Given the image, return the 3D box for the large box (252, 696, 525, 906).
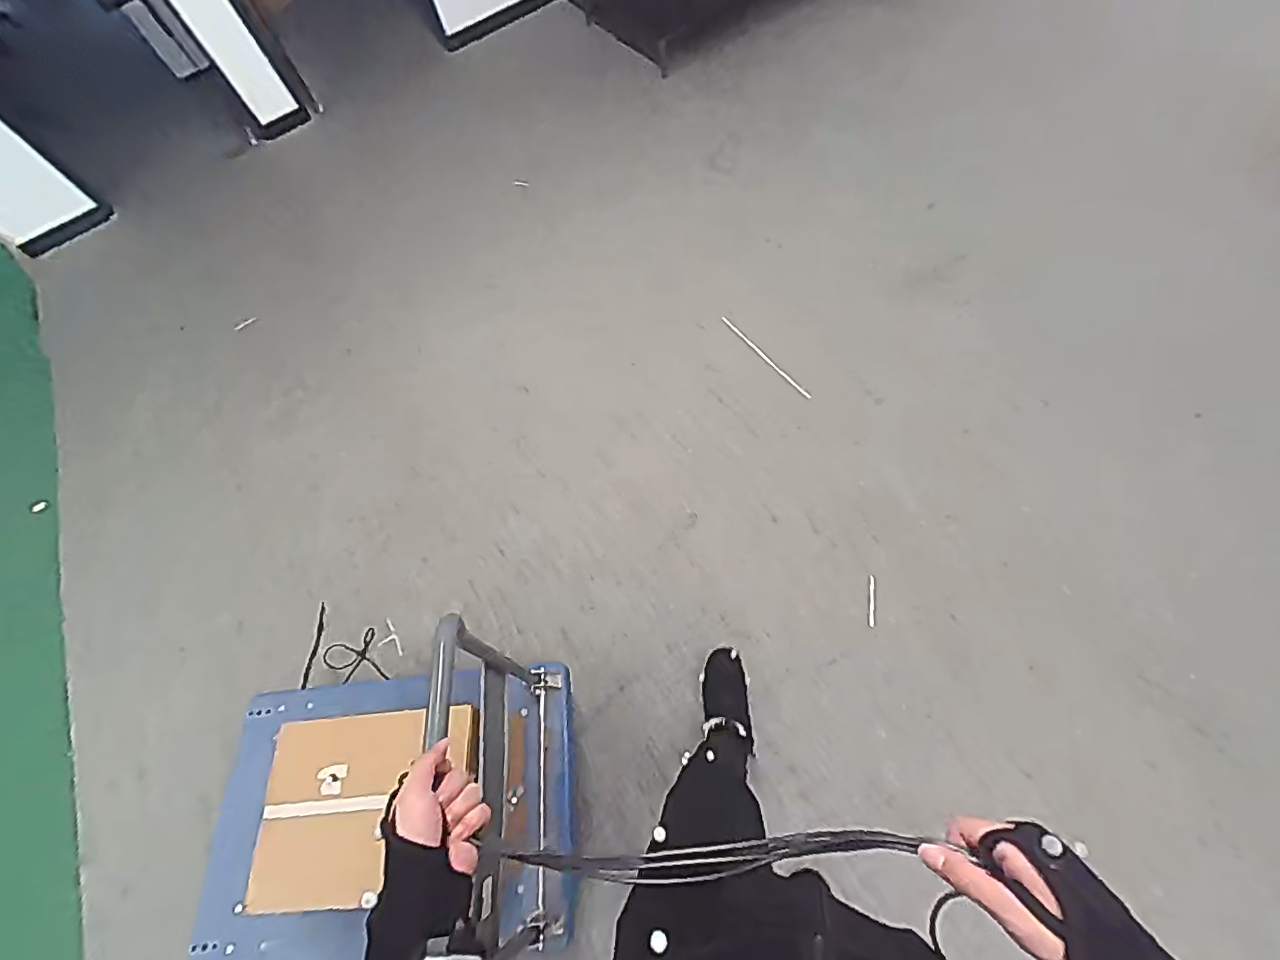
[{"bbox_3d":[-0.482,0.652,1.134,0.408,0.320,0.320,-8,62,6],"label":"large box"}]
